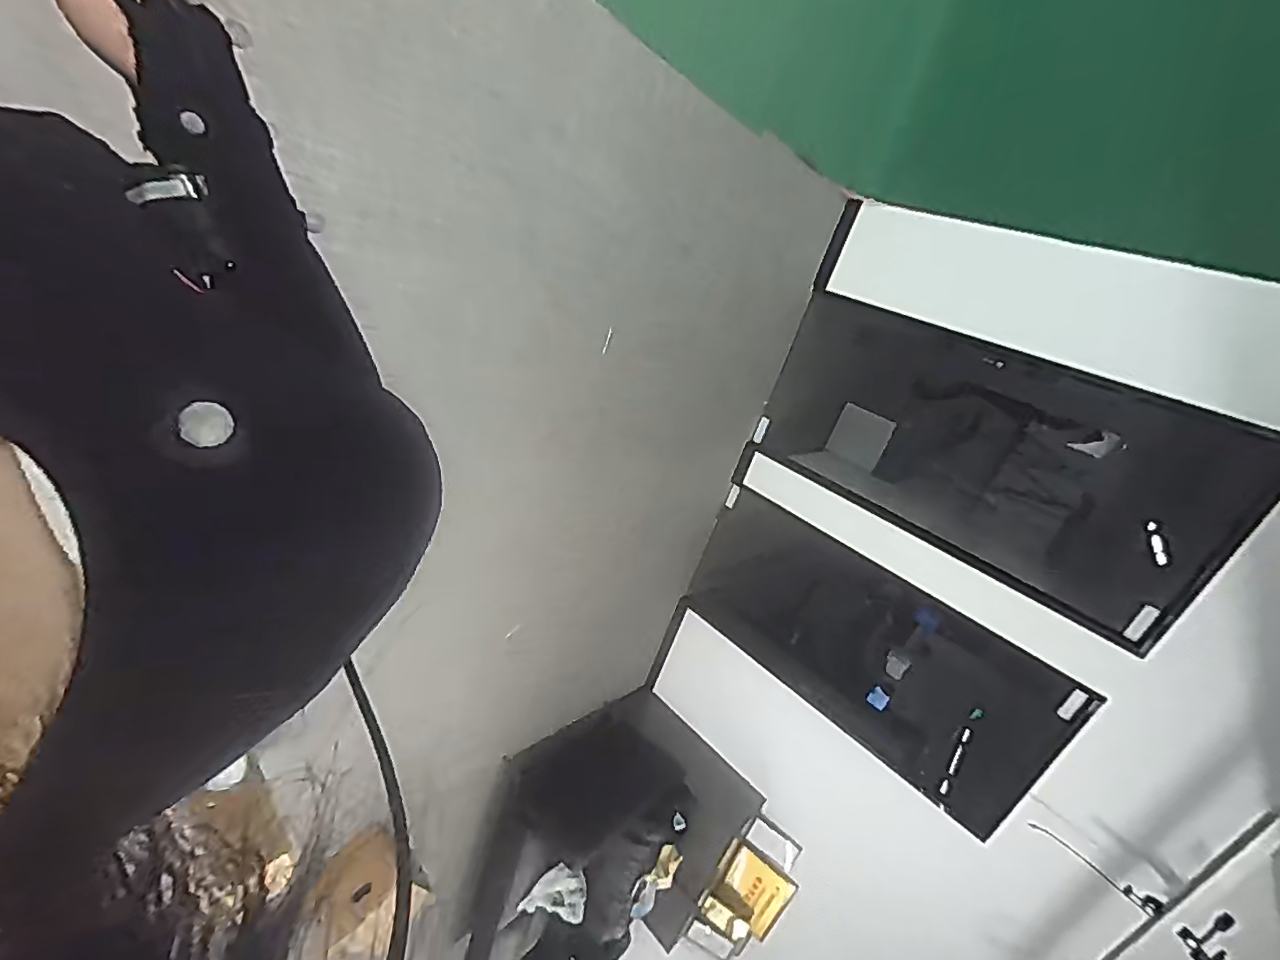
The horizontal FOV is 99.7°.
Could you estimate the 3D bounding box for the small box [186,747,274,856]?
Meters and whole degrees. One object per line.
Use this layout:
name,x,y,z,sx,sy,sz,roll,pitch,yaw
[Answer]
small box,-1.195,0.928,1.573,0.179,0.176,0.168,-14,131,-48

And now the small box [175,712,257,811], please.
small box,-1.310,0.859,1.665,0.179,0.176,0.168,-9,127,-48
